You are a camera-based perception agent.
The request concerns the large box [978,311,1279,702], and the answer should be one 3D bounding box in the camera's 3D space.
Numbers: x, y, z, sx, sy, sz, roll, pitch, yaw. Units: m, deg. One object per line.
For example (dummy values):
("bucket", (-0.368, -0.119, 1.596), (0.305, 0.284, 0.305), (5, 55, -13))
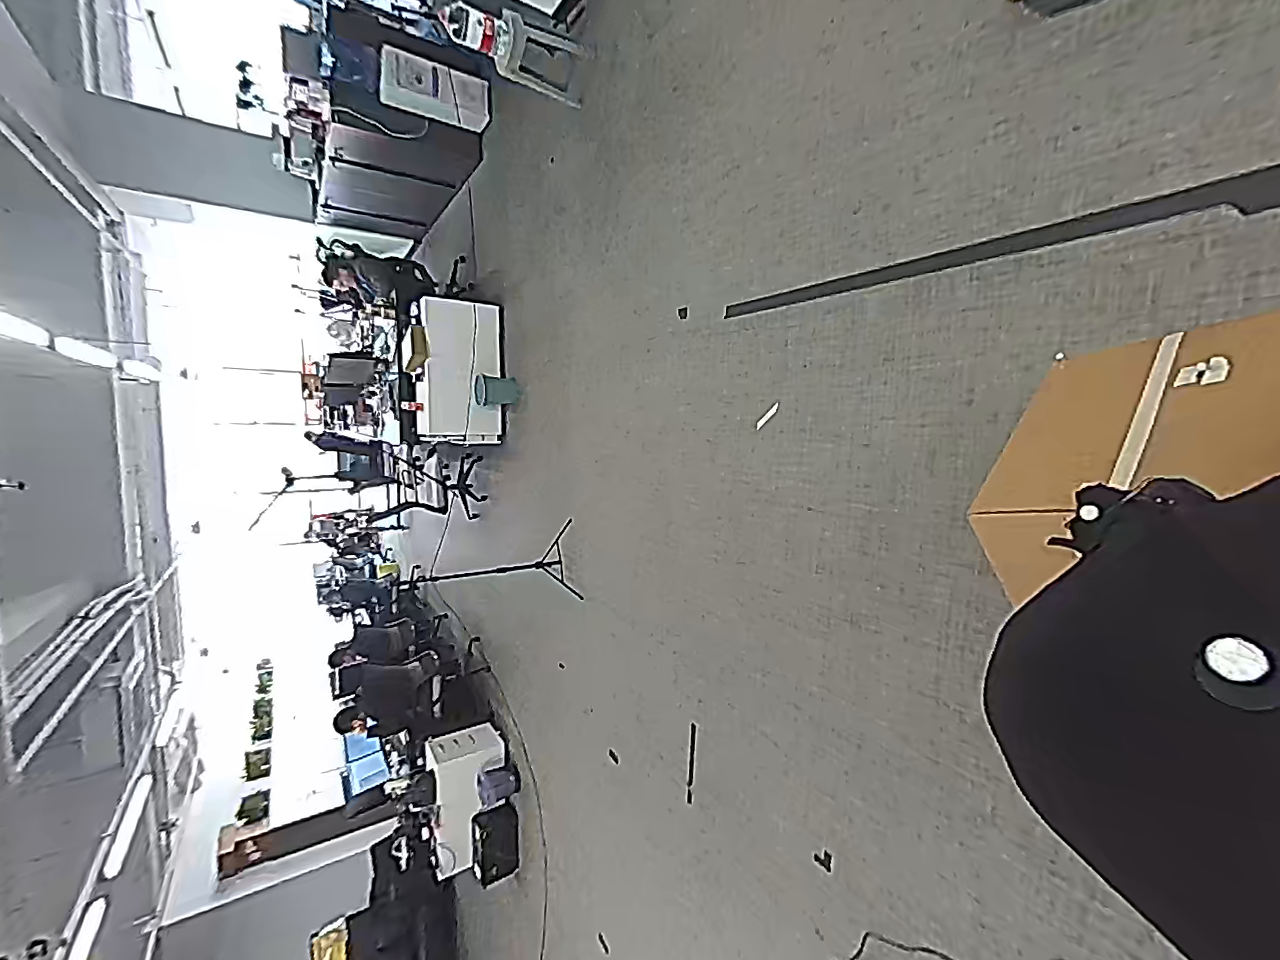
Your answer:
("large box", (0.743, 0.029, 0.737), (0.320, 0.408, 0.320), (55, 151, -16))
